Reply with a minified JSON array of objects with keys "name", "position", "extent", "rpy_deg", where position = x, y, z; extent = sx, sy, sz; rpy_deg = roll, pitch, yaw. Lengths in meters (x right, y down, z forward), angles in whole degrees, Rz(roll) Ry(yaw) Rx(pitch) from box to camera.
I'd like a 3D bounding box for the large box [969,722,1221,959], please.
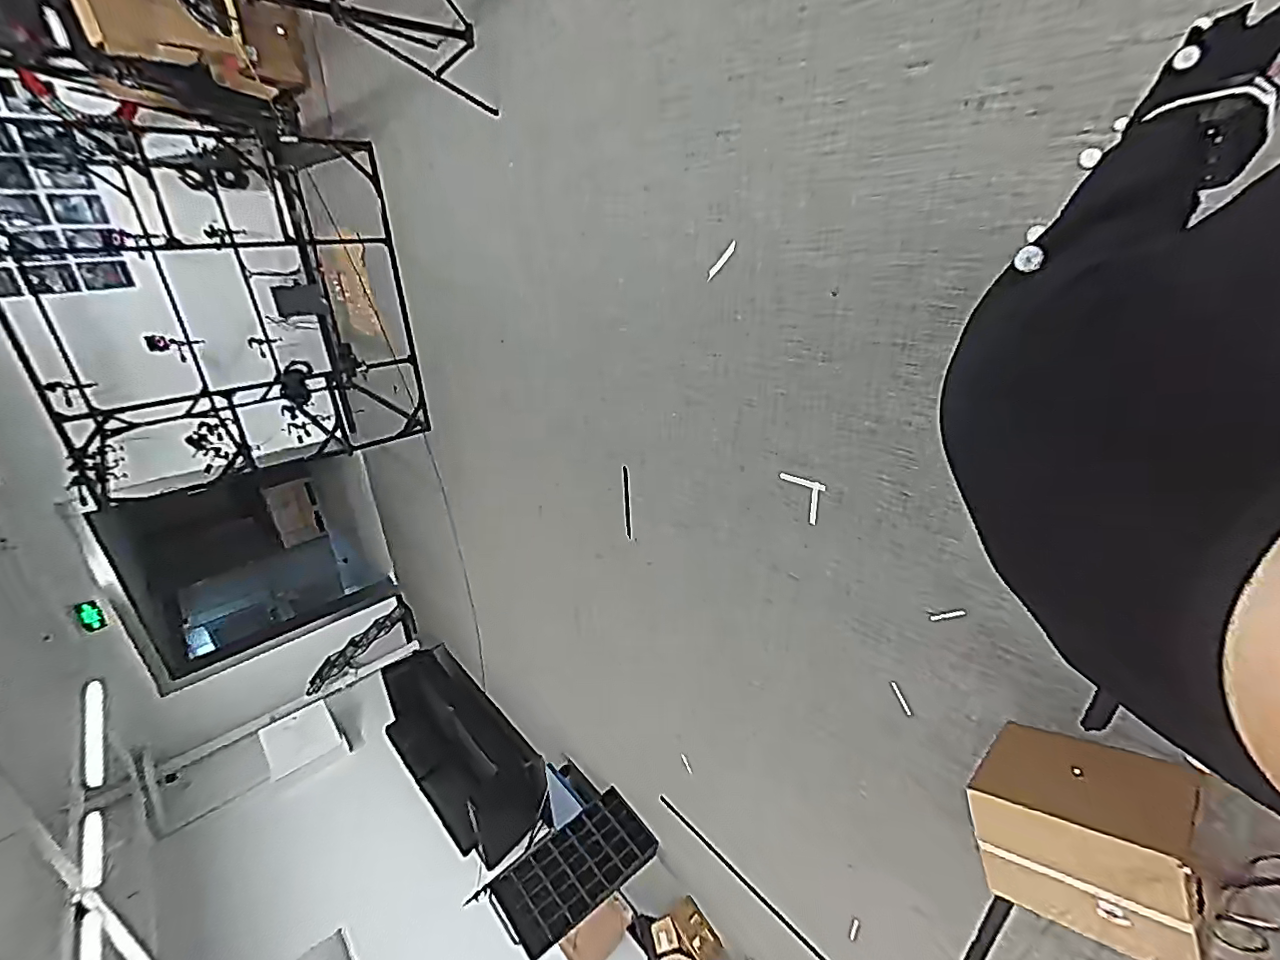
[{"name":"large box","position":[1.112,0.858,1.334],"extent":[0.408,0.320,0.320],"rpy_deg":[-8,101,52]}]
